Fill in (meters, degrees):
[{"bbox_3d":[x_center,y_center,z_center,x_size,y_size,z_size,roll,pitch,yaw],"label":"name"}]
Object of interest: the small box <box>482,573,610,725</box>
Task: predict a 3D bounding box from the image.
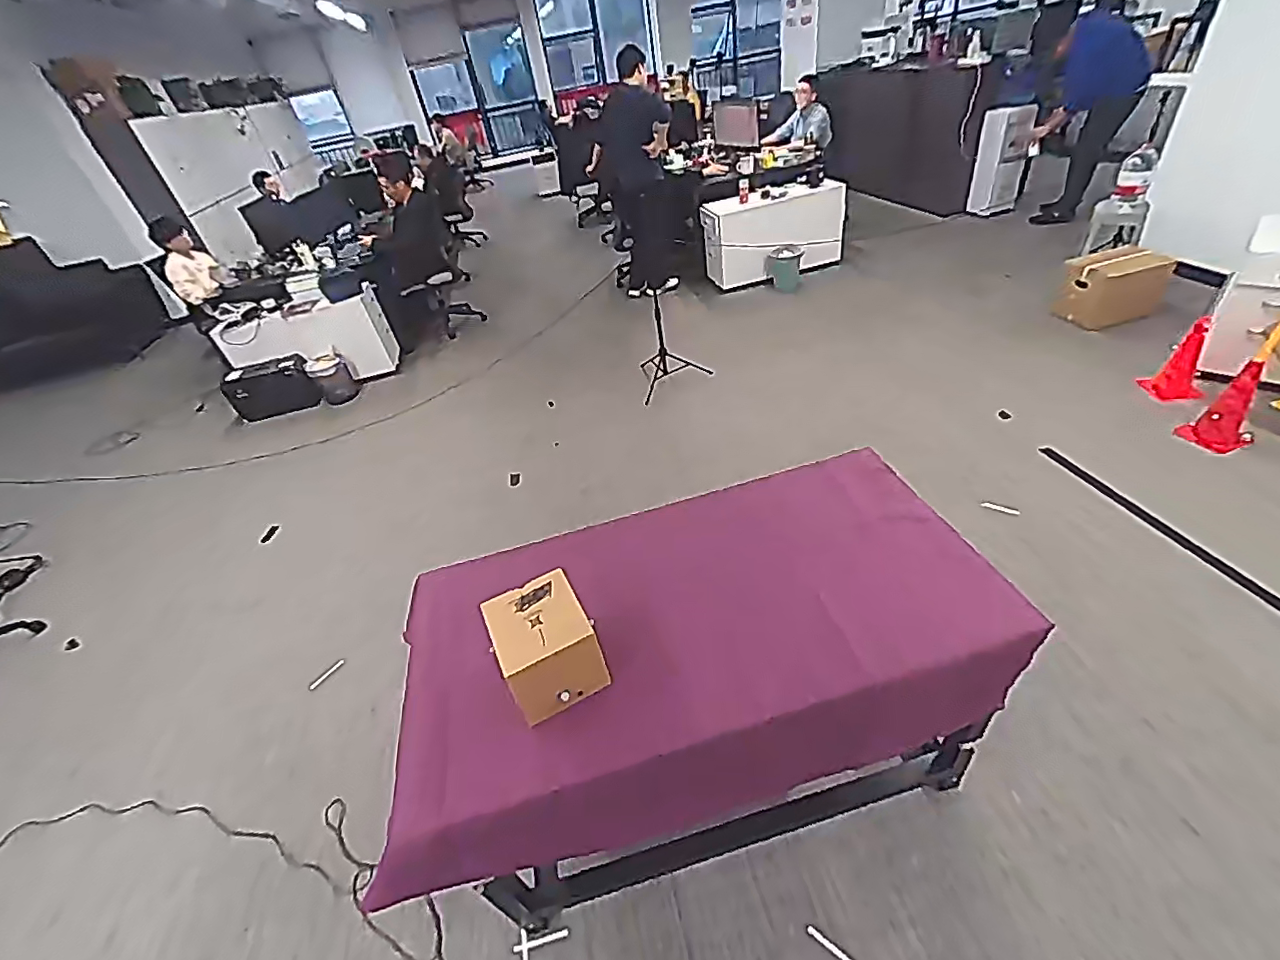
[{"bbox_3d":[-0.174,0.315,1.011,0.168,0.176,0.179,-24,41,-15],"label":"small box"}]
